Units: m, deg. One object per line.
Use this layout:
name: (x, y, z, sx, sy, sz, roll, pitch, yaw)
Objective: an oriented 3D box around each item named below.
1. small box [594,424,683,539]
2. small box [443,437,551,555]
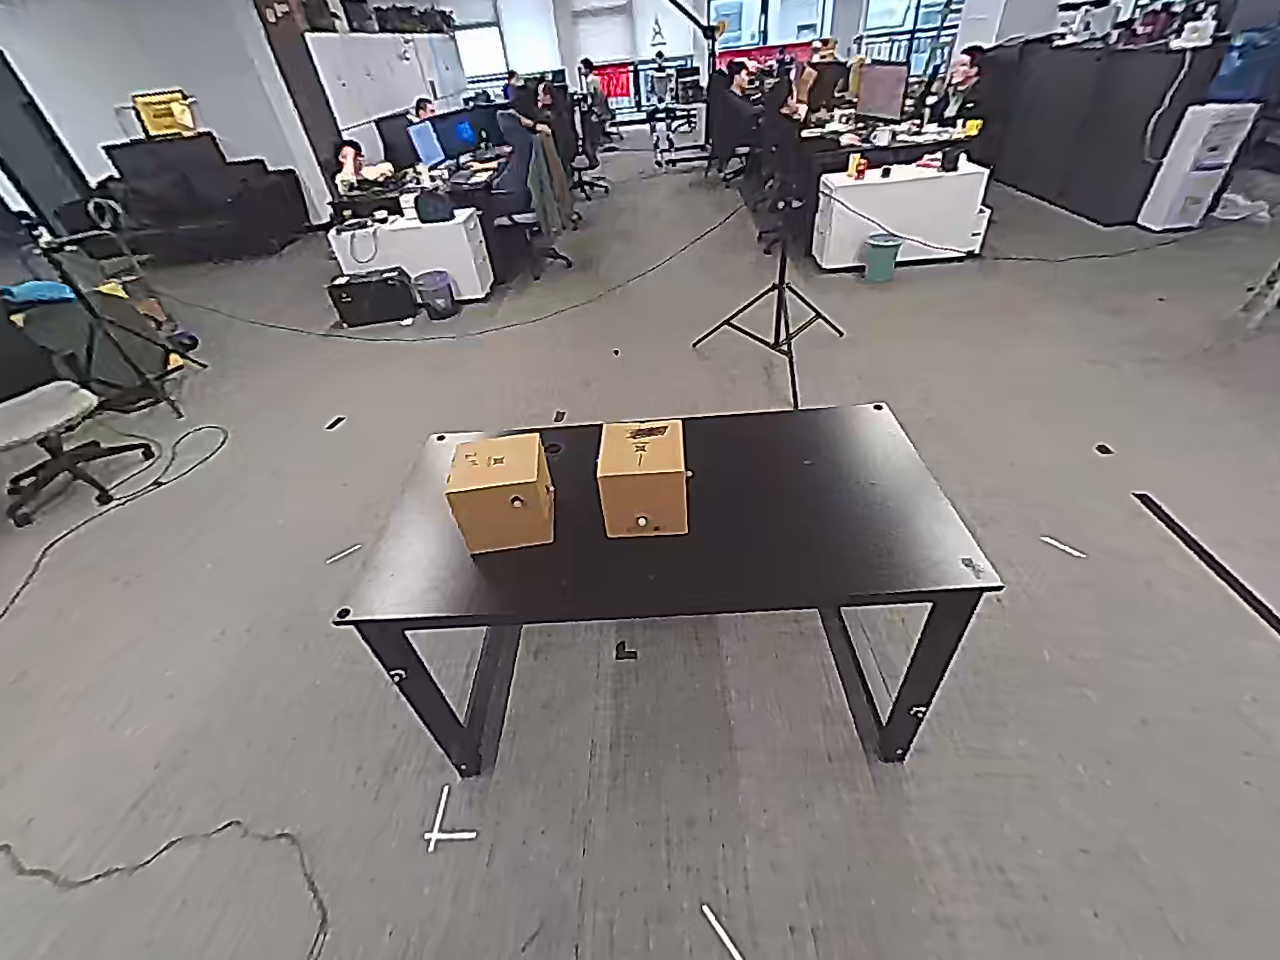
small box: (0.003, 0.003, 1.122, 0.168, 0.176, 0.179, -3, 40, 5)
small box: (-0.285, 0.034, 1.125, 0.179, 0.176, 0.168, -9, 39, -2)
